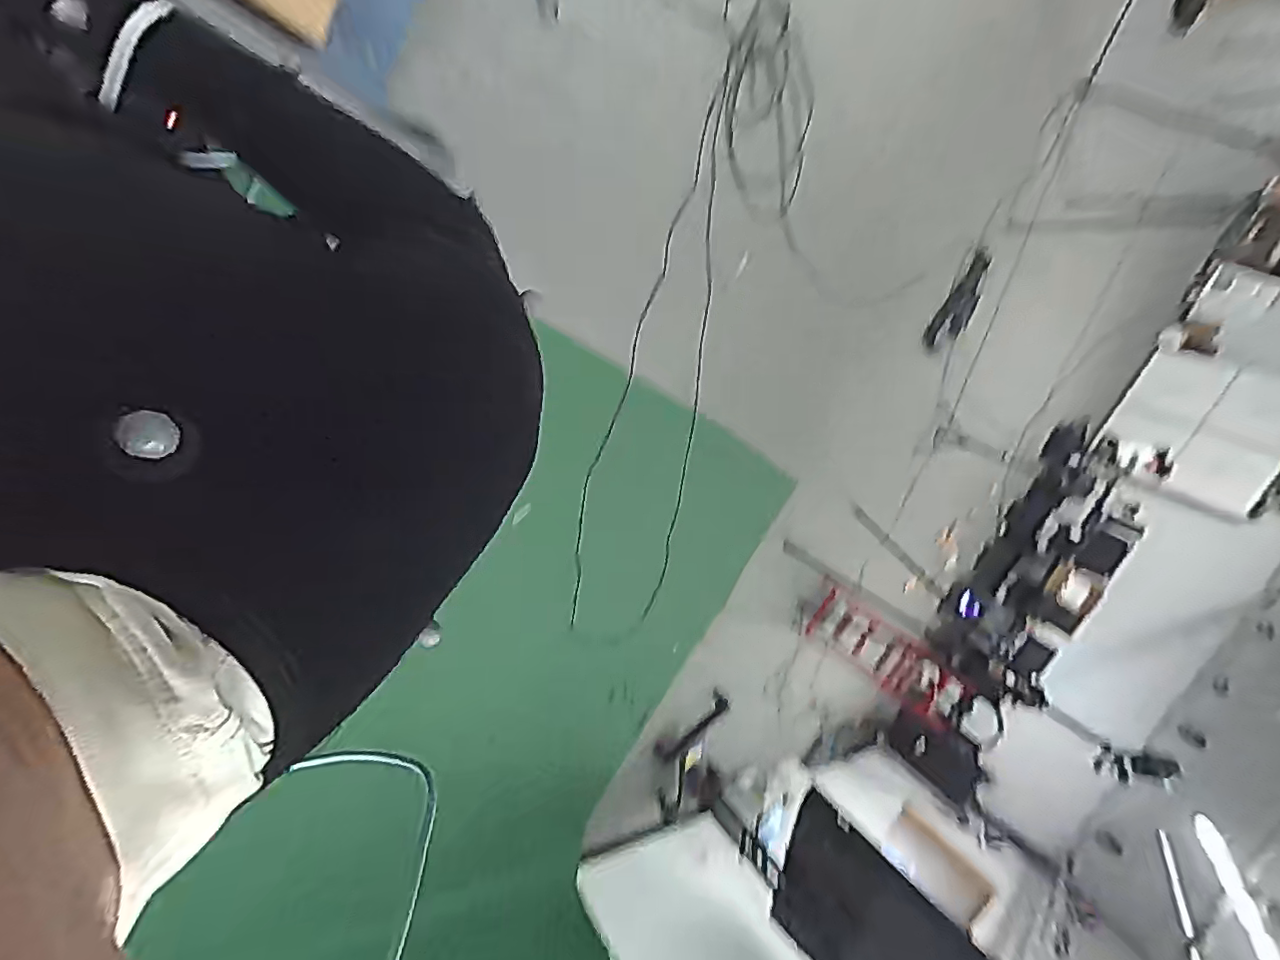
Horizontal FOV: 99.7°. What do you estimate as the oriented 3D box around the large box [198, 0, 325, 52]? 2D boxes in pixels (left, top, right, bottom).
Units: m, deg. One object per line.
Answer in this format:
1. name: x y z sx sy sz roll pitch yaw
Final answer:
1. large box: -0.611 -0.940 0.778 0.320 0.320 0.408 15 106 -47
